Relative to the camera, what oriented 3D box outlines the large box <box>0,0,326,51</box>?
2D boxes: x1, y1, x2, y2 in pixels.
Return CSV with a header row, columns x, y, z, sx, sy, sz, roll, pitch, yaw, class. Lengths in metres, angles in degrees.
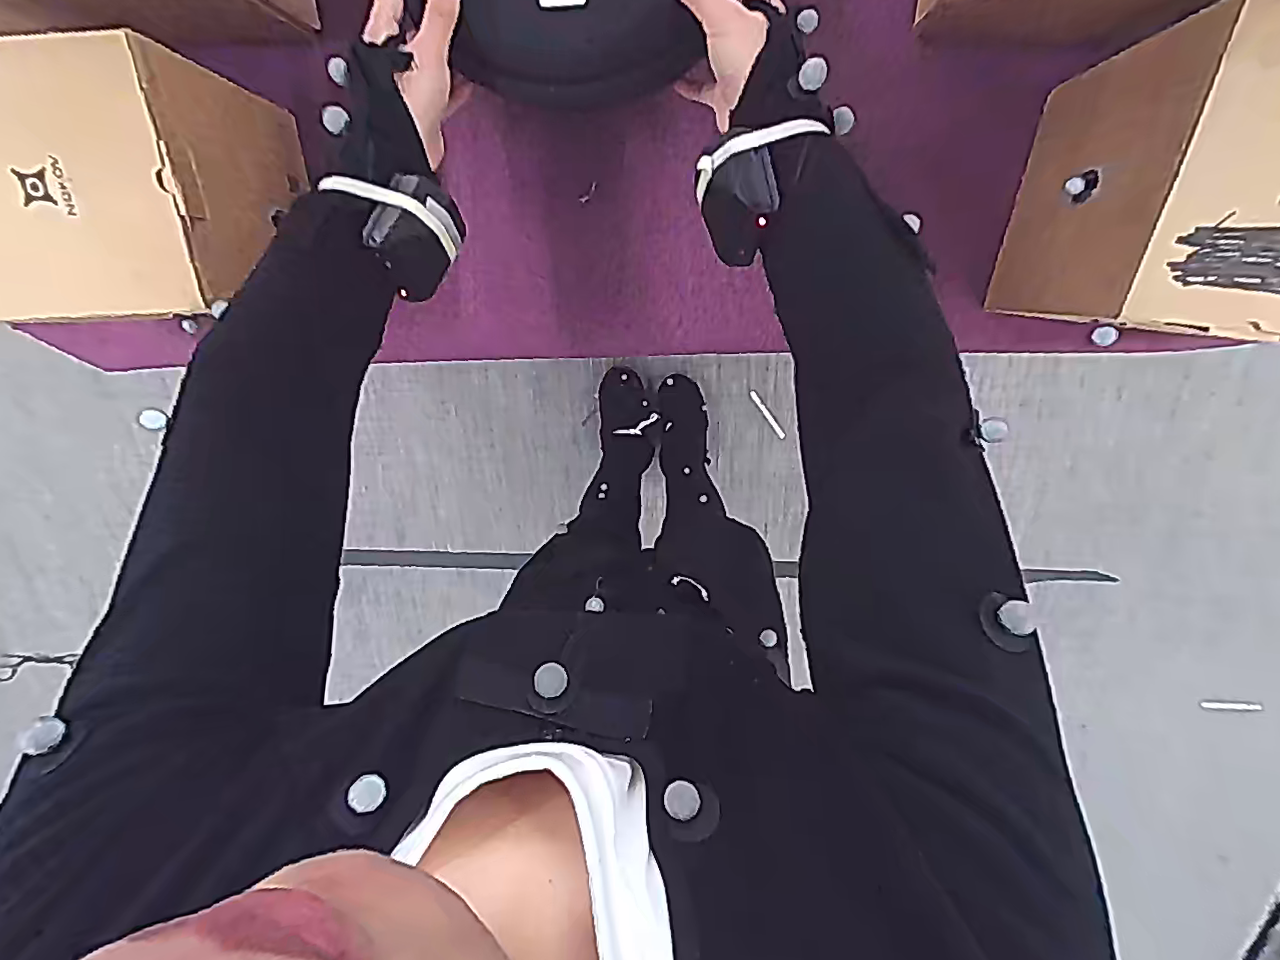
x,y,z,sx,sy,sz,roll,pitch,yaw,class
-0.428,-0.510,0.266,0.320,0.320,0.408,-1,112,2,large box
